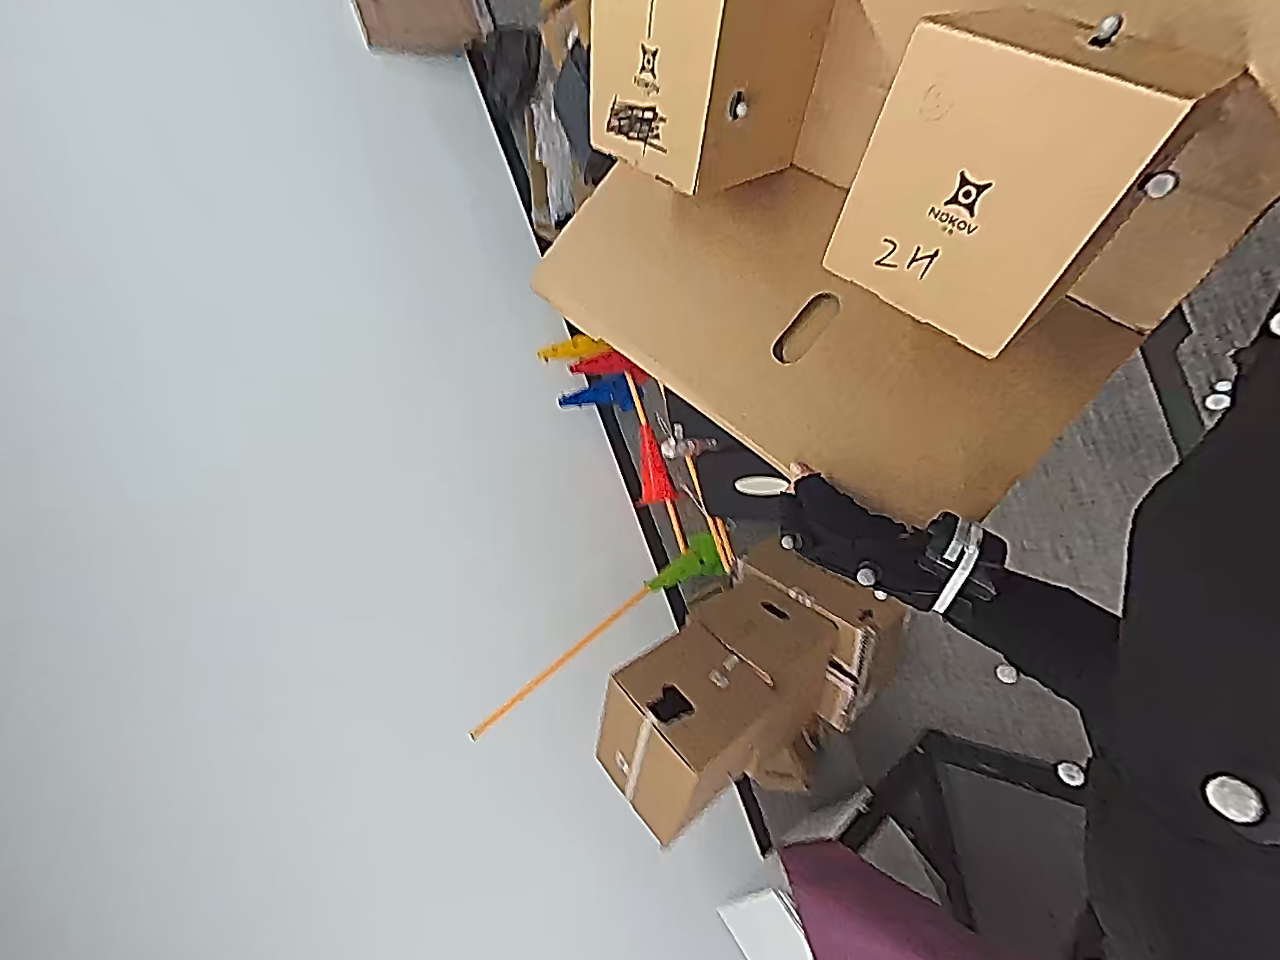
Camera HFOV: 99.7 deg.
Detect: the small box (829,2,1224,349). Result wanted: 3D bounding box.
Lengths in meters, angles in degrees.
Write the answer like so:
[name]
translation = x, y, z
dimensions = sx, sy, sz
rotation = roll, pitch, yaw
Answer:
[small box]
translation = 0.291, -0.243, 0.426
dimensions = 0.168, 0.176, 0.179
rotation = 44, 149, 22
